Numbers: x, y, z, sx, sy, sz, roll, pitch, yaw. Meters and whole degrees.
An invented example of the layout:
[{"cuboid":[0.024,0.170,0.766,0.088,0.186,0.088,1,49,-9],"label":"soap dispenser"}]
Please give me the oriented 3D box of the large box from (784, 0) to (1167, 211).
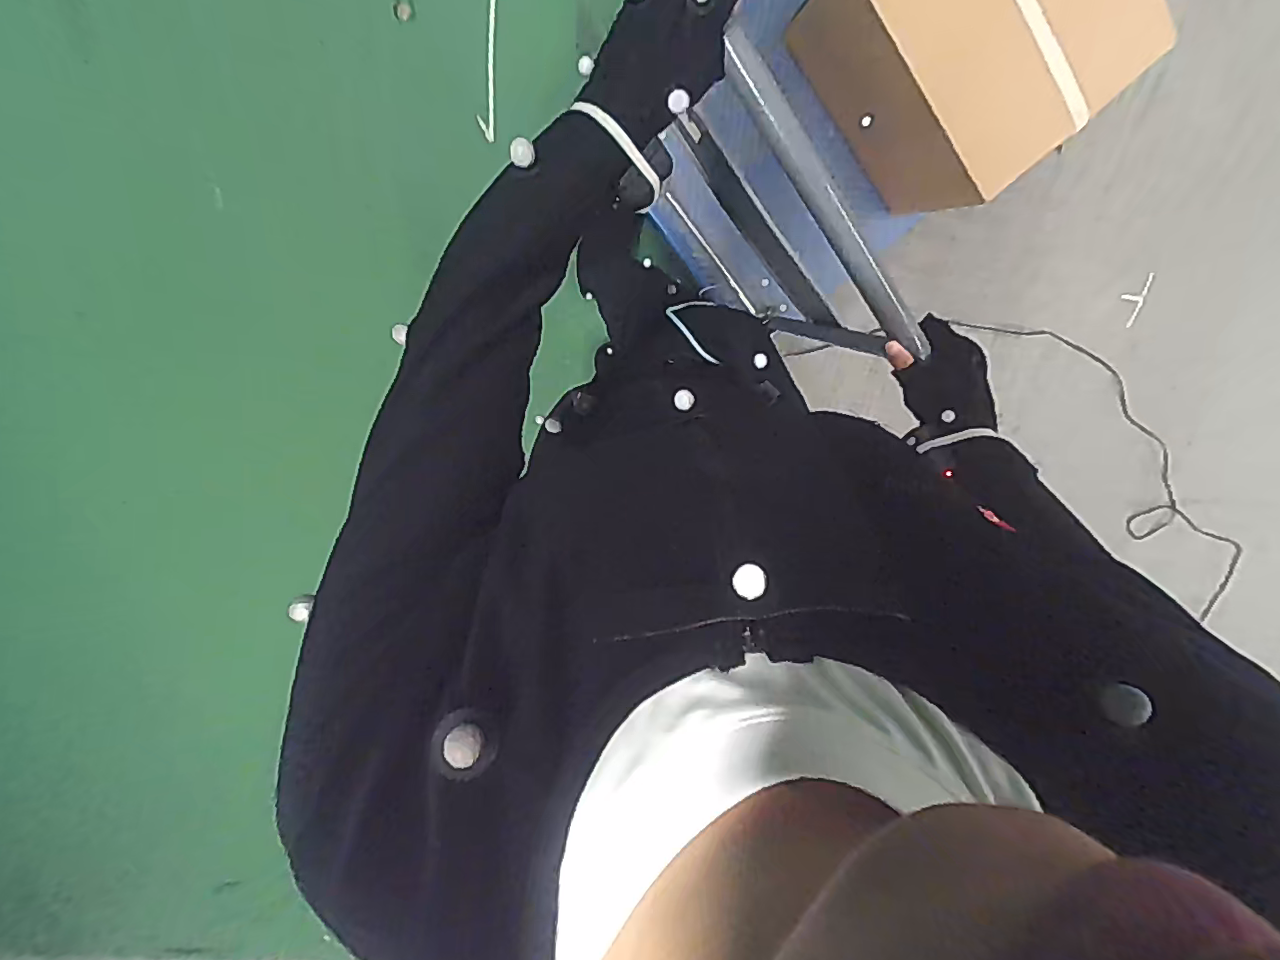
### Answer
[{"cuboid":[0.510,-0.724,0.891,0.320,0.320,0.408,-40,108,13],"label":"large box"}]
